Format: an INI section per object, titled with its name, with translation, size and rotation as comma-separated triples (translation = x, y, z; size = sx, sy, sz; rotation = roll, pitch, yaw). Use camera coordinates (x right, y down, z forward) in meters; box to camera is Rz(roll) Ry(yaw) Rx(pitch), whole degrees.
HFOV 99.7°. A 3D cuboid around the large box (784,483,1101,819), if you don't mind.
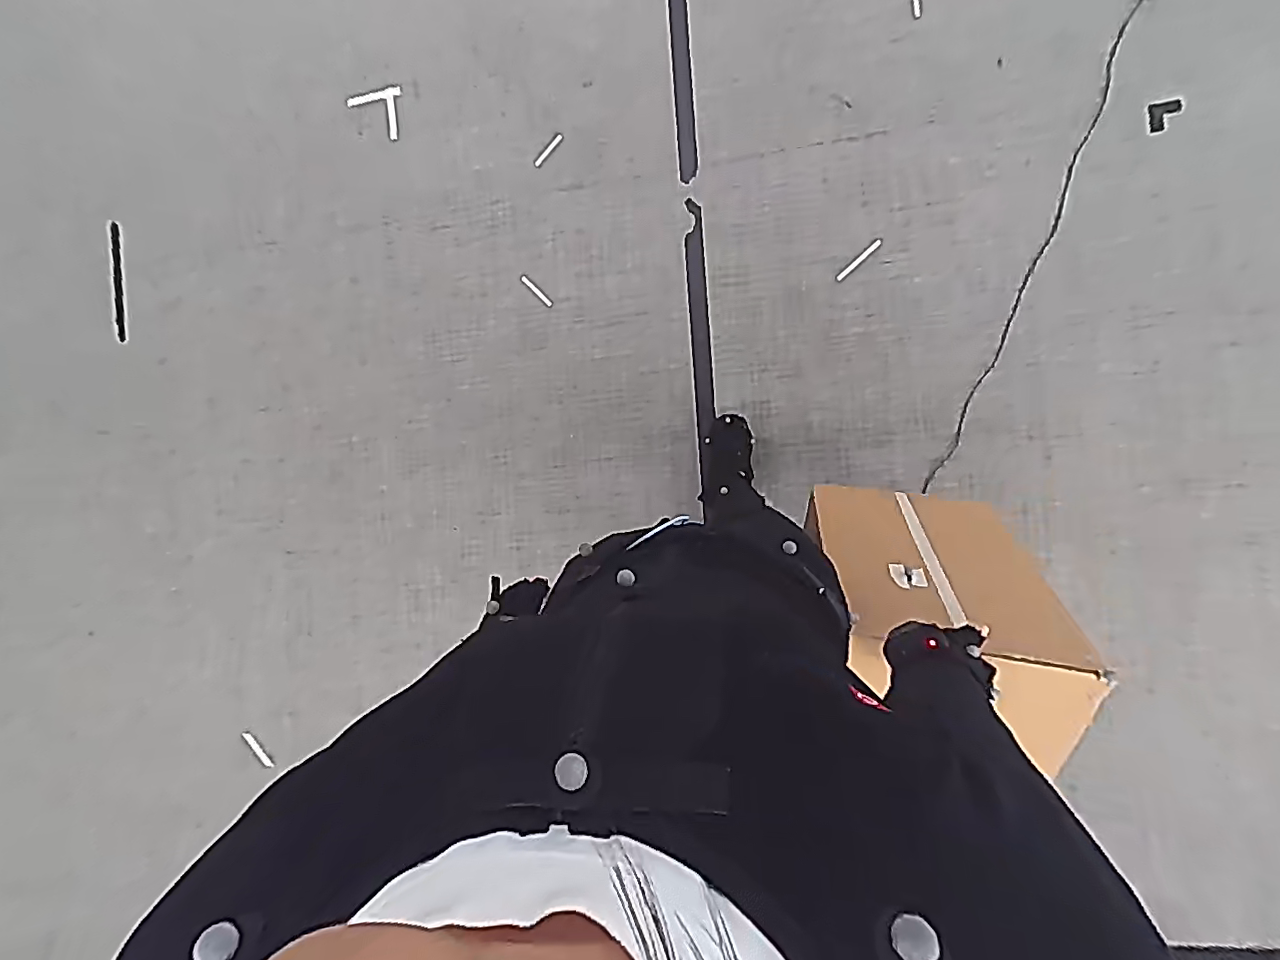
[large box]
translation = 0.423, 0.248, 0.893
size = 0.320, 0.408, 0.320
rotation = 6, 120, 10
